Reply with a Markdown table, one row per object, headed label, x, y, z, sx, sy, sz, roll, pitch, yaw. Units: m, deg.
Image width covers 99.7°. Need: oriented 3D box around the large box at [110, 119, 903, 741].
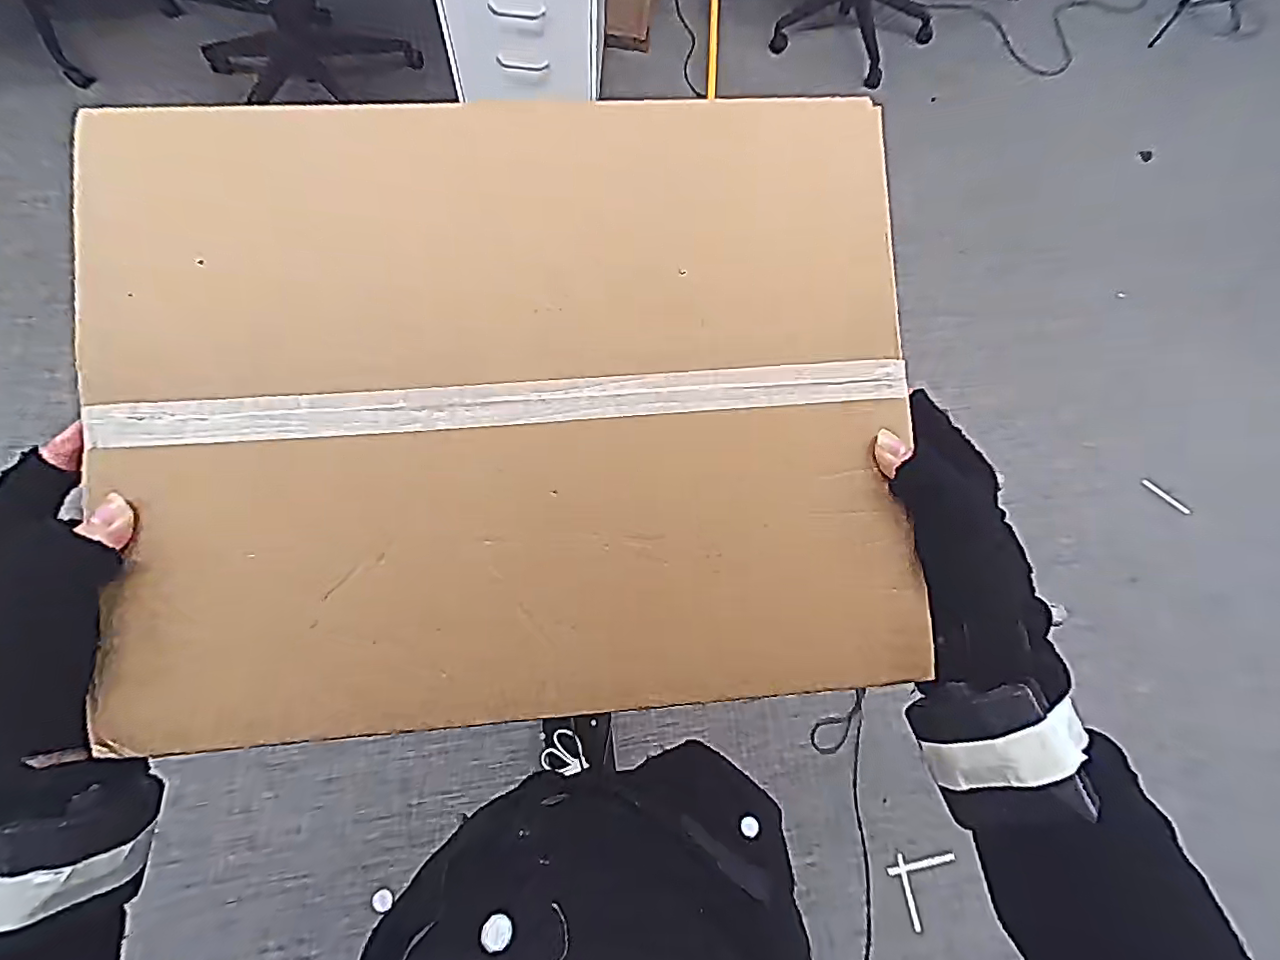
| label | x | y | z | sx | sy | sz | roll | pitch | yaw |
| --- | --- | --- | --- | --- | --- | --- | --- | --- | --- |
| large box | -0.072 | -0.031 | 0.433 | 0.408 | 0.320 | 0.320 | -3 | 86 | -4 |
